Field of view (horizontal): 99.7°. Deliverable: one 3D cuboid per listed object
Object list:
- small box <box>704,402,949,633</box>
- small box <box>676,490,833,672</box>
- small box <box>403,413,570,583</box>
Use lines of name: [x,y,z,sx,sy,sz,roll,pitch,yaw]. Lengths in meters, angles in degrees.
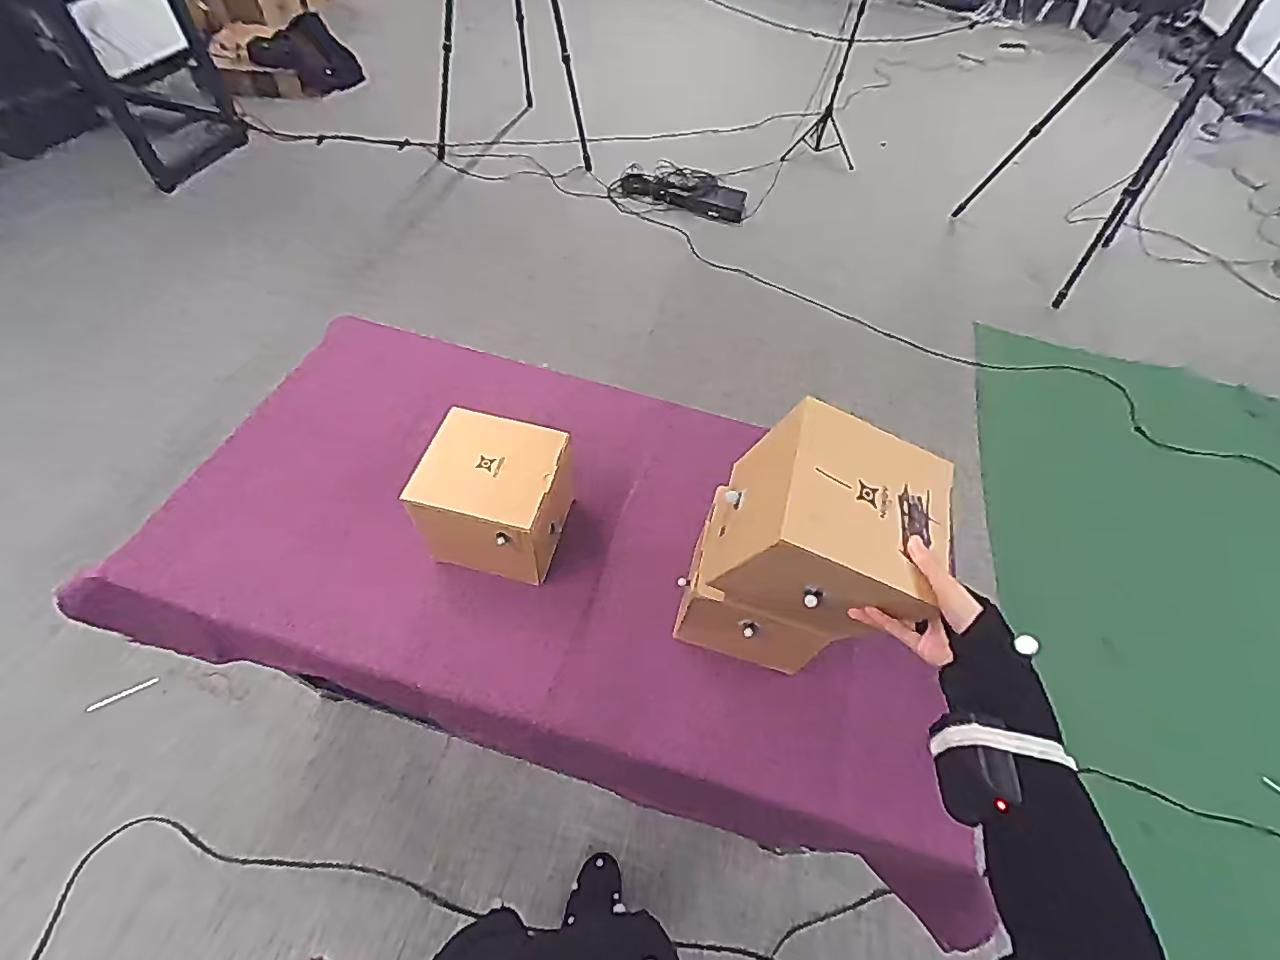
small box: [0.193,0.053,0.580,0.179,0.176,0.168,23,61,-7]
small box: [0.157,0.145,0.743,0.179,0.176,0.168,17,55,5]
small box: [-0.208,0.031,0.788,0.179,0.176,0.168,13,54,3]
